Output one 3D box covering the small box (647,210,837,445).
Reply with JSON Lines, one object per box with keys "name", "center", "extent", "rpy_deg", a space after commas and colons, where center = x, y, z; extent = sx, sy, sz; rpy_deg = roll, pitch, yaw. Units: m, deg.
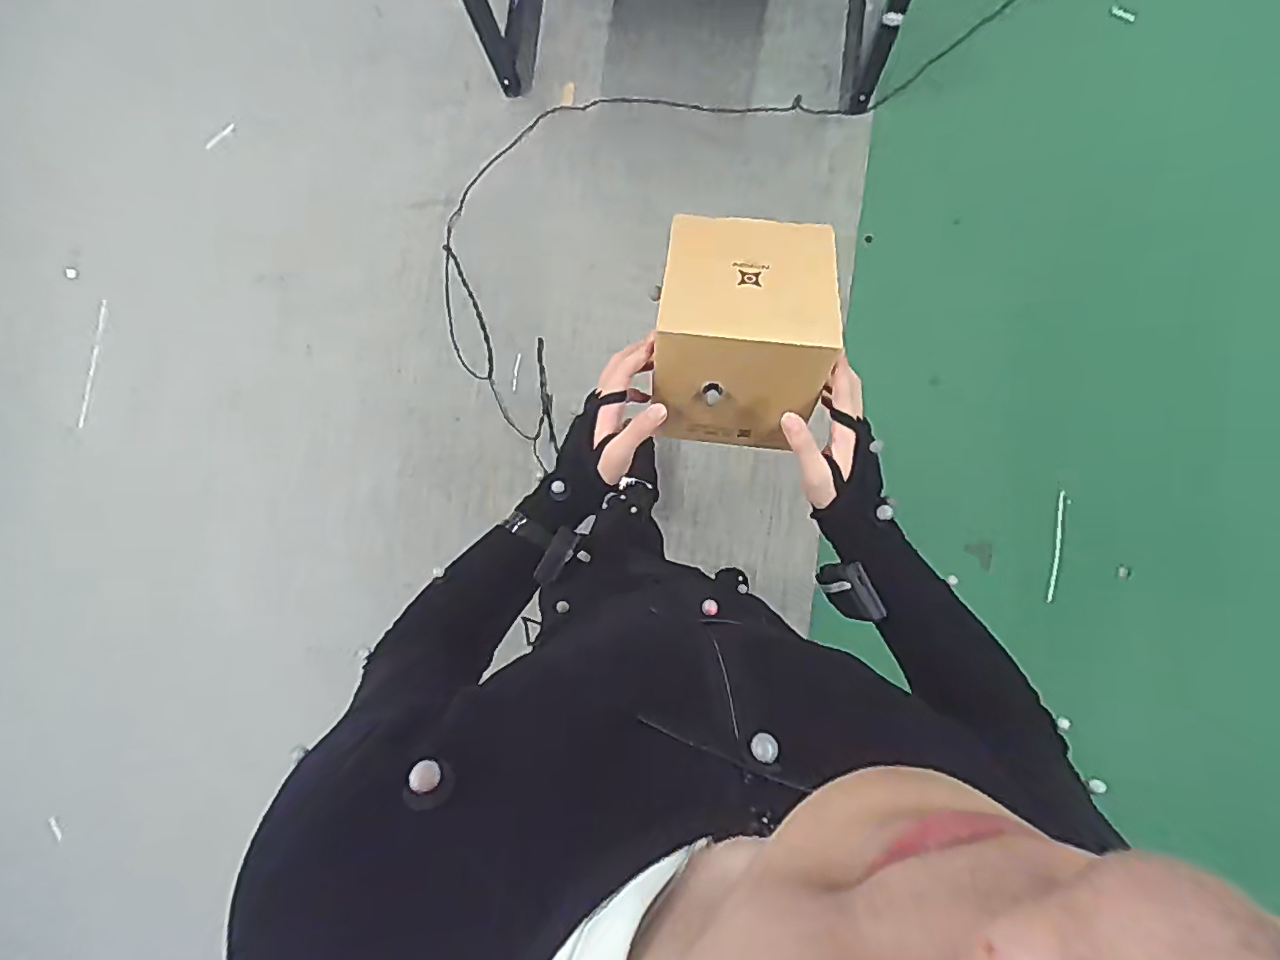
{"name": "small box", "center": [0.099, -0.155, 0.575], "extent": [0.168, 0.176, 0.179], "rpy_deg": [5, 59, 4]}
